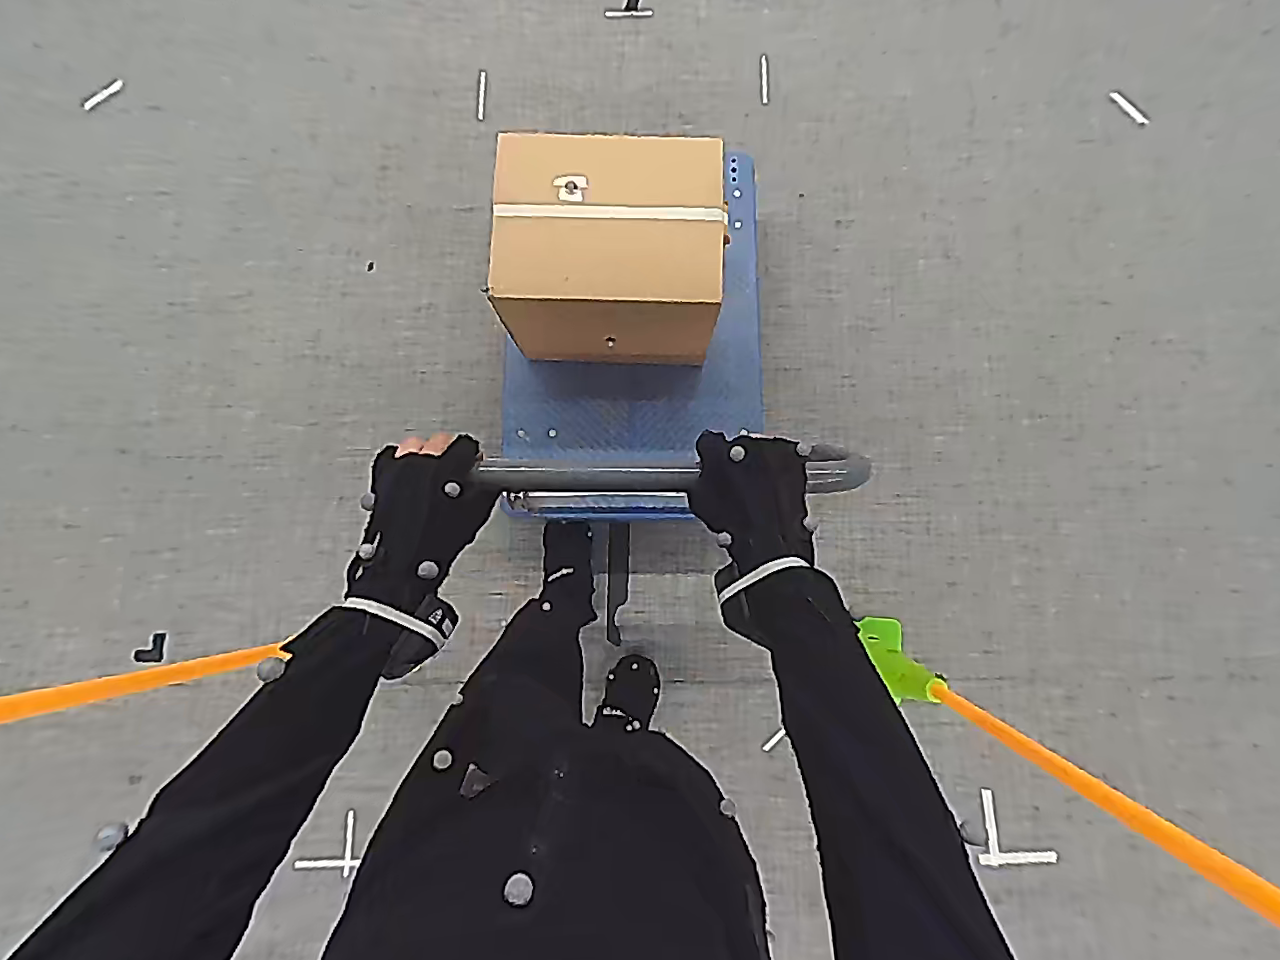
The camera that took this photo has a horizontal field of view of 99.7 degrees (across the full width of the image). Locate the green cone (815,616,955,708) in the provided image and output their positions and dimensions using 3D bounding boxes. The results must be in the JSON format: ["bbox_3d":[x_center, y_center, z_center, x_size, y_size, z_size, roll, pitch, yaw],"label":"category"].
[{"bbox_3d":[0.517,0.401,1.108,0.202,0.368,0.200,5,81,0],"label":"green cone"}]

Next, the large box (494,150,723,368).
[{"bbox_3d":[-0.048,-0.425,1.103,0.408,0.320,0.320,2,82,2],"label":"large box"}]
